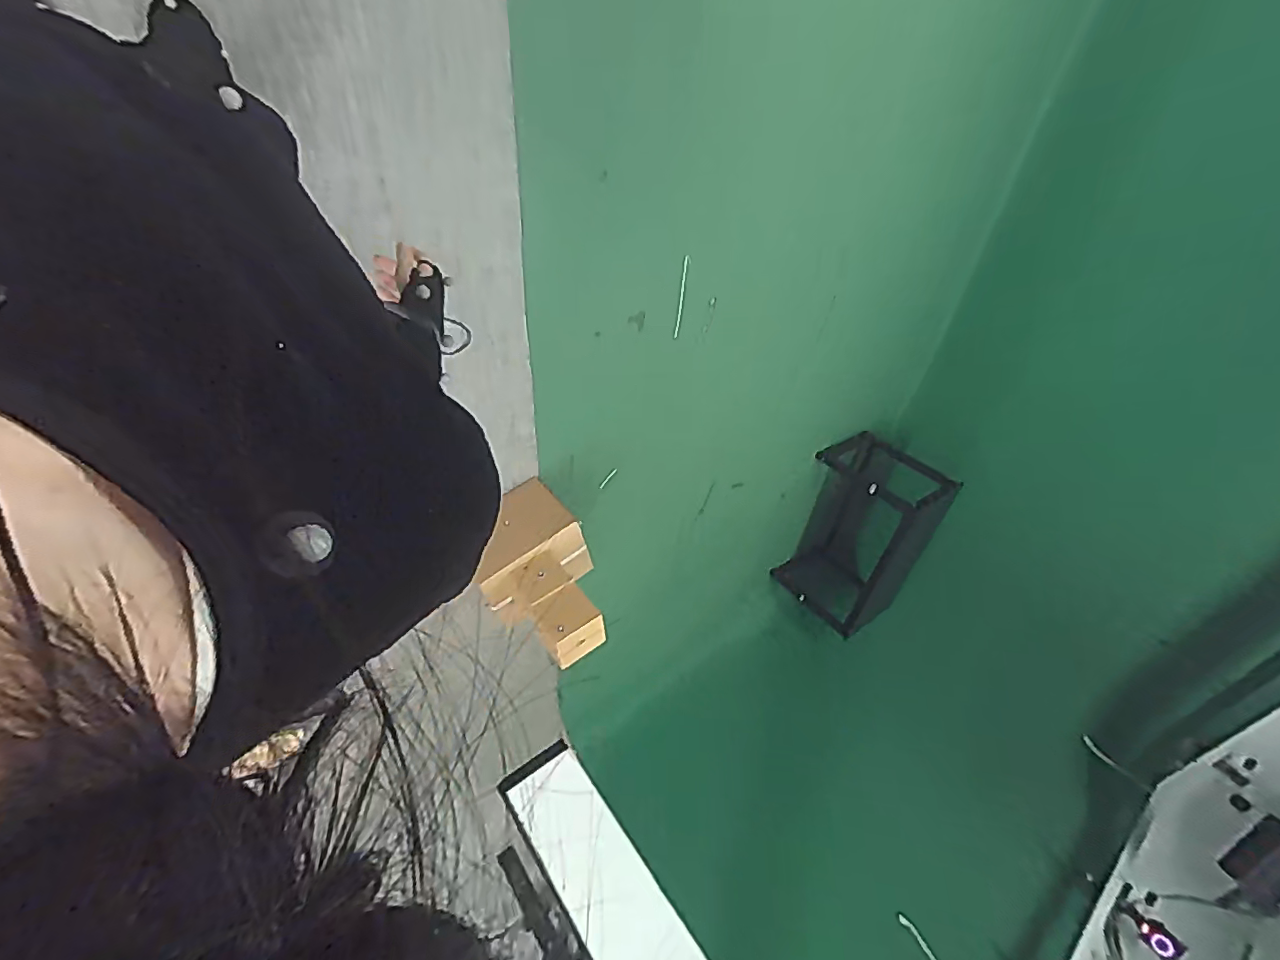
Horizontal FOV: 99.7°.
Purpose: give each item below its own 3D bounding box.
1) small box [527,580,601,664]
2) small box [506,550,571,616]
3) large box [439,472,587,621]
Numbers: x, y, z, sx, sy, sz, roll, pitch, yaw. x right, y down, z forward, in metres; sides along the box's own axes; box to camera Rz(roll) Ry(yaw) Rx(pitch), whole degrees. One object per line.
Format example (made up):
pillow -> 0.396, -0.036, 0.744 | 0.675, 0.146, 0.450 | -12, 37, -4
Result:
small box -> -0.251, 0.463, 1.791 | 0.179, 0.176, 0.168 | -28, 140, -25
small box -> -0.347, 0.369, 1.882 | 0.168, 0.176, 0.179 | -29, 140, -24
large box -> -0.475, 0.244, 2.057 | 0.408, 0.320, 0.320 | -35, 143, -21
